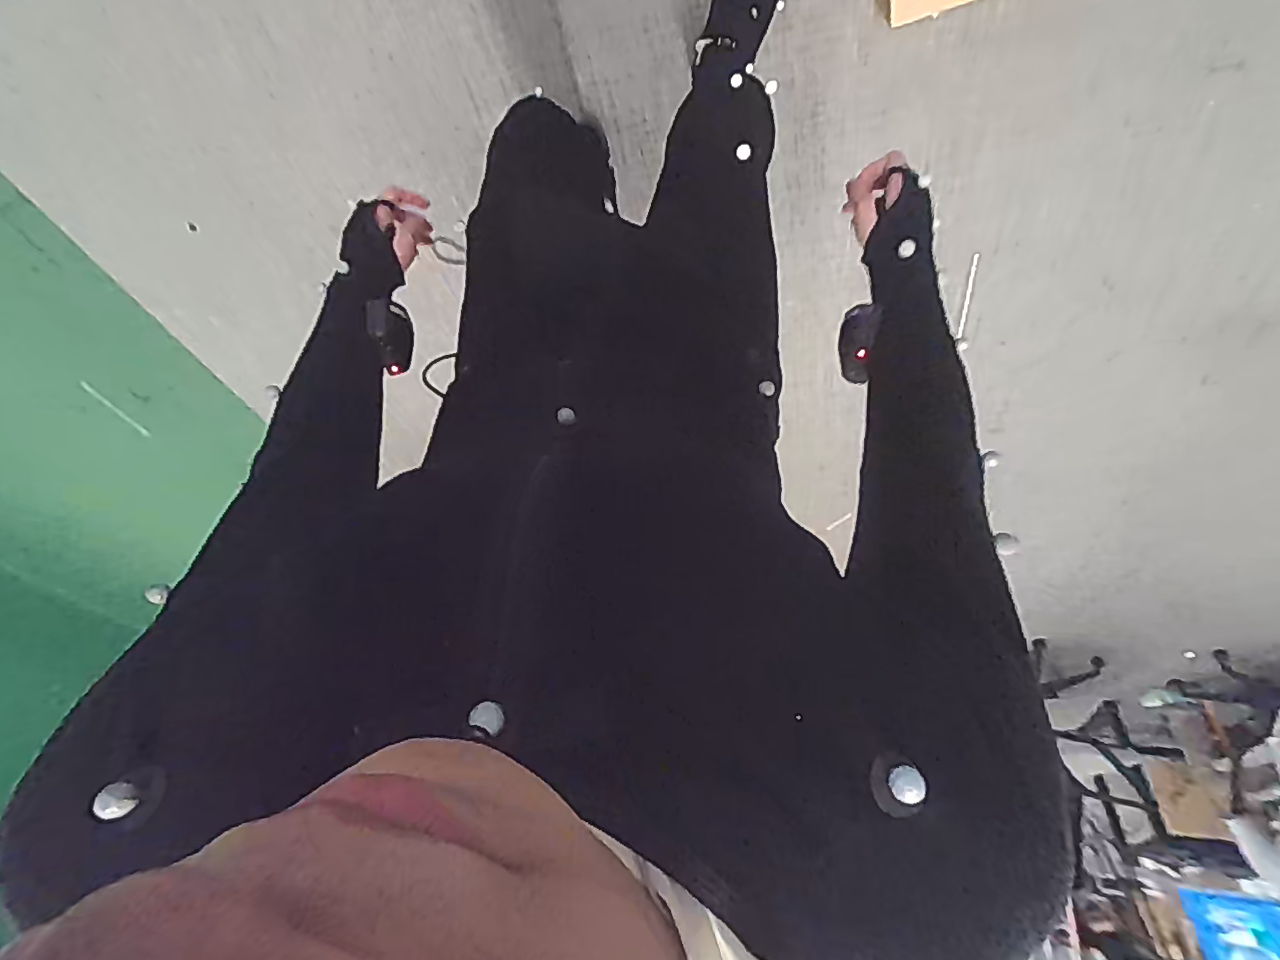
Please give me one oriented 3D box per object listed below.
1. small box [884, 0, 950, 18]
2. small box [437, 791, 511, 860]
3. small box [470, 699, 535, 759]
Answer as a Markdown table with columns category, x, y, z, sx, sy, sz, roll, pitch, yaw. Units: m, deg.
| category | x | y | z | sx | sy | sz | roll | pitch | yaw |
| --- | --- | --- | --- | --- | --- | --- | --- | --- | --- |
| small box | 0.485 | -0.886 | 0.864 | 0.179 | 0.176 | 0.168 | -6 | 139 | 19 |
| small box | -0.588 | 1.242 | 1.947 | 0.168 | 0.176 | 0.179 | -4 | 137 | 17 |
| small box | -0.539 | 0.991 | 2.150 | 0.168 | 0.176 | 0.179 | -4 | 137 | 17 |
